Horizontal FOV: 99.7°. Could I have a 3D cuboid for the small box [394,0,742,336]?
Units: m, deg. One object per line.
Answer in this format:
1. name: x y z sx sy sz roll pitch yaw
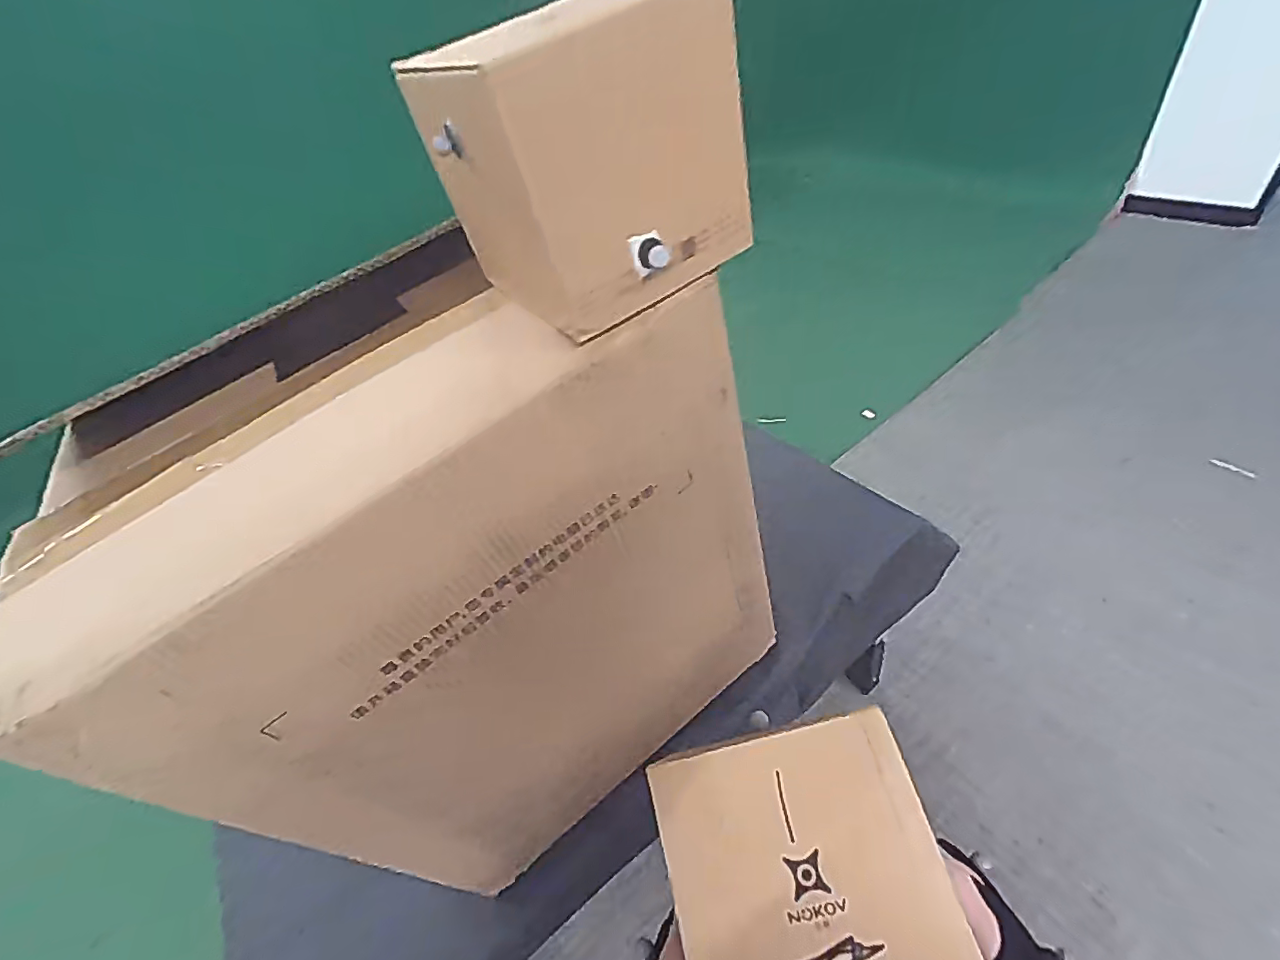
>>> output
1. small box: -0.044 -0.233 0.404 0.168 0.176 0.179 -36 48 -16
